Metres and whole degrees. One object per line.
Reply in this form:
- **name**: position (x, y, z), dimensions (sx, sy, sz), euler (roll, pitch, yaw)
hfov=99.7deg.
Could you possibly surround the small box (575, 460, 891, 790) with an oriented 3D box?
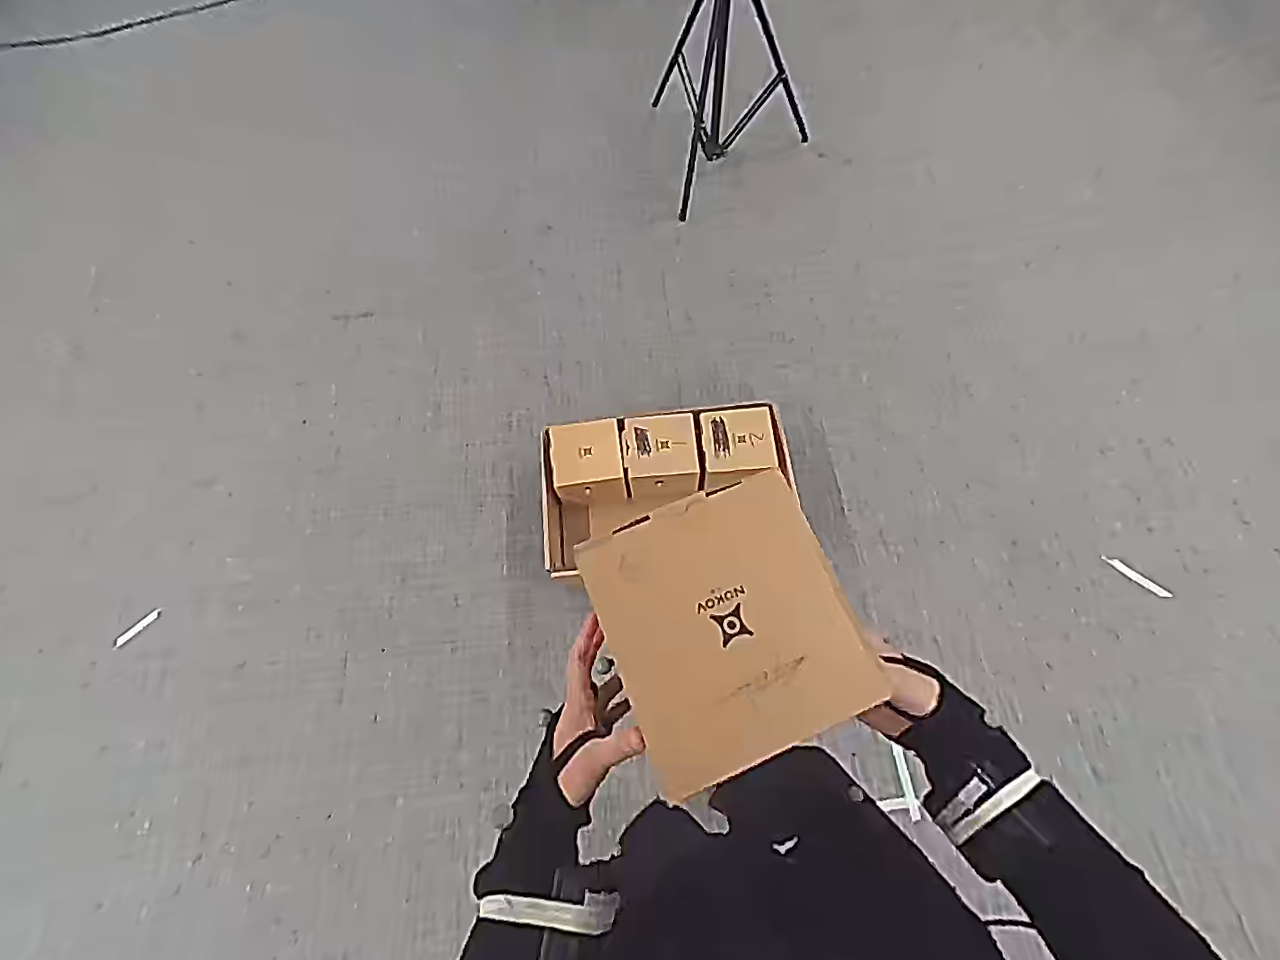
- **small box**: position (0.055, 0.112, 0.442), dimensions (0.168, 0.176, 0.179), euler (-22, 75, -9)
